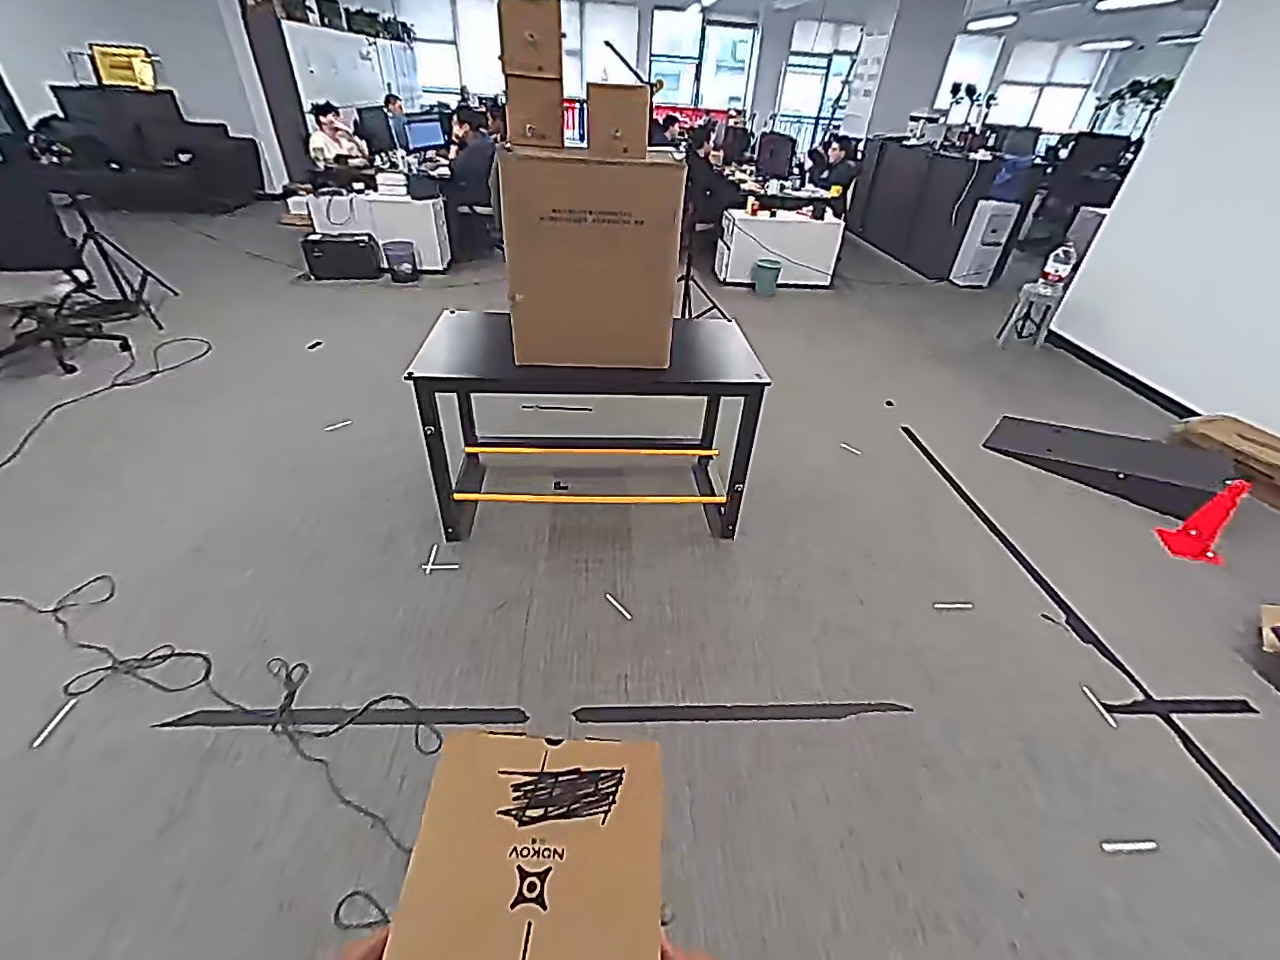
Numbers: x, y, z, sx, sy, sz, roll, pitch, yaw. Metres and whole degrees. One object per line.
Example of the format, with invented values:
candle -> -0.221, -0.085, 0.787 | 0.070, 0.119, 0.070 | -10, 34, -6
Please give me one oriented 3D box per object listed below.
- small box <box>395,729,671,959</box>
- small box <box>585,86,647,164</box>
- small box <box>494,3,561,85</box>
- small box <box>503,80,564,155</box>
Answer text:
small box -> -0.067, 0.315, 0.408 | 0.168, 0.176, 0.179 | 3, 42, -1
small box -> -0.073, -1.003, 1.526 | 0.168, 0.176, 0.179 | -2, 37, -5
small box -> -0.306, -1.204, 1.503 | 0.168, 0.176, 0.179 | -1, 36, -7
small box -> -0.313, -1.081, 1.612 | 0.168, 0.176, 0.179 | -3, 37, -8
